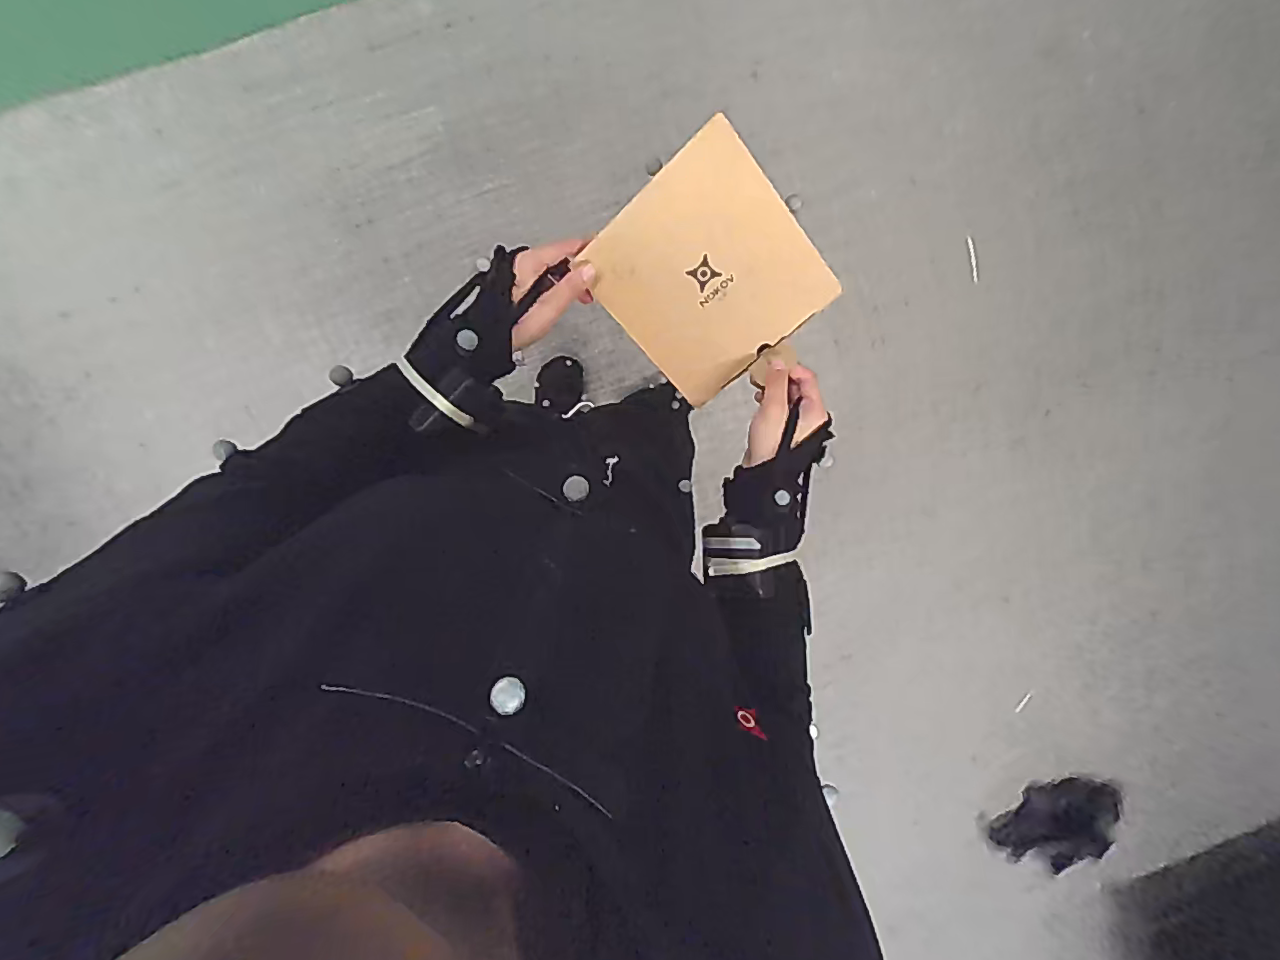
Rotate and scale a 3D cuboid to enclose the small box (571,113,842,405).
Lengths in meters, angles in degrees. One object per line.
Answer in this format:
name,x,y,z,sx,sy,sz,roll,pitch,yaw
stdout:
small box,0.057,-0.209,0.529,0.168,0.176,0.179,-40,111,20
